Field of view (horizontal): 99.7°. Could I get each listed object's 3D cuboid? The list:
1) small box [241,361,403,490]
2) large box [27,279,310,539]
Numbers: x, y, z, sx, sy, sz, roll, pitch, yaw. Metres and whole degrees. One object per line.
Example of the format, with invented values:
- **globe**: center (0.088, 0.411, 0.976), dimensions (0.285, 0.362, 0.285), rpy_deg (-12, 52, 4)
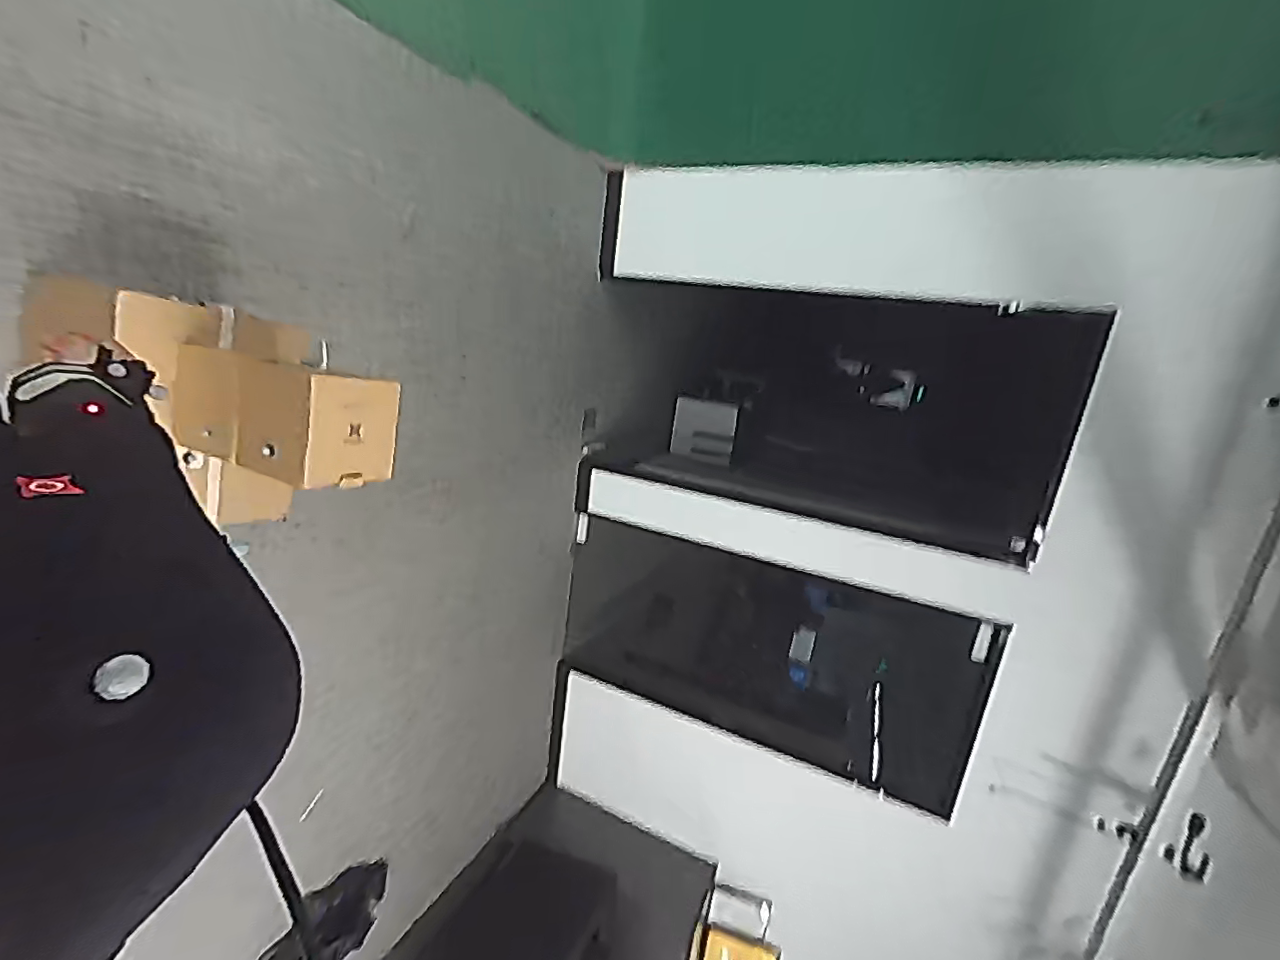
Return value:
- **small box**: center (-0.528, -0.092, 0.900), dimensions (0.168, 0.176, 0.179), rpy_deg (-13, 114, -66)
- **large box**: center (-0.906, -0.137, 1.052), dimensions (0.320, 0.320, 0.408), rpy_deg (-5, 108, -65)
